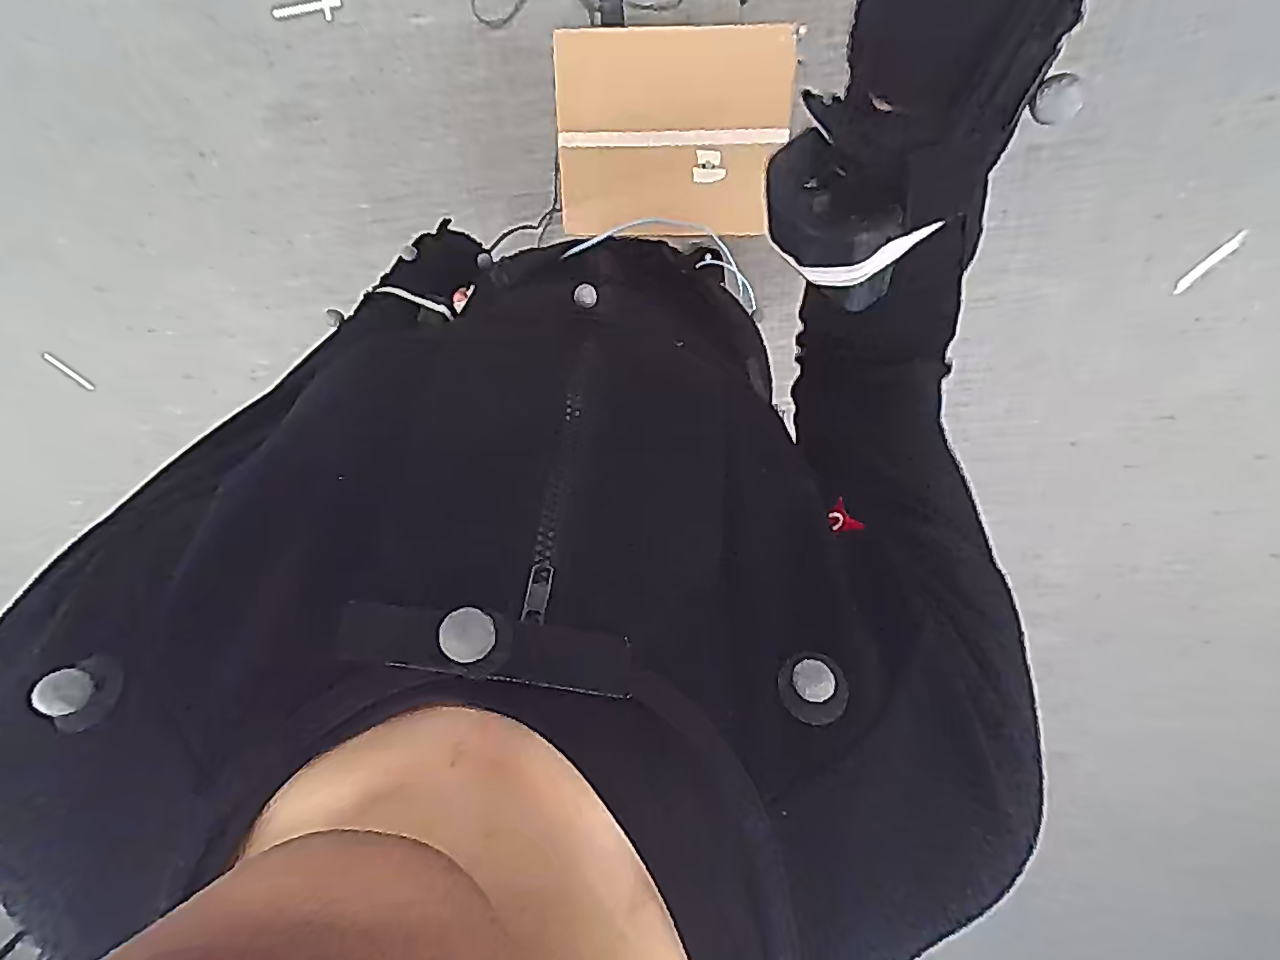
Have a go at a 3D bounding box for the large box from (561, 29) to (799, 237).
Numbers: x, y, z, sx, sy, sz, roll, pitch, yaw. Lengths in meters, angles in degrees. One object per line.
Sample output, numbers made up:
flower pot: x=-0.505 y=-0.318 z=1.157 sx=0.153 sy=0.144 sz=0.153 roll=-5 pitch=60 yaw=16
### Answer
large box: x=0.071 y=-0.665 z=1.094 sx=0.408 sy=0.320 sz=0.320 roll=2 pitch=115 yaw=3
